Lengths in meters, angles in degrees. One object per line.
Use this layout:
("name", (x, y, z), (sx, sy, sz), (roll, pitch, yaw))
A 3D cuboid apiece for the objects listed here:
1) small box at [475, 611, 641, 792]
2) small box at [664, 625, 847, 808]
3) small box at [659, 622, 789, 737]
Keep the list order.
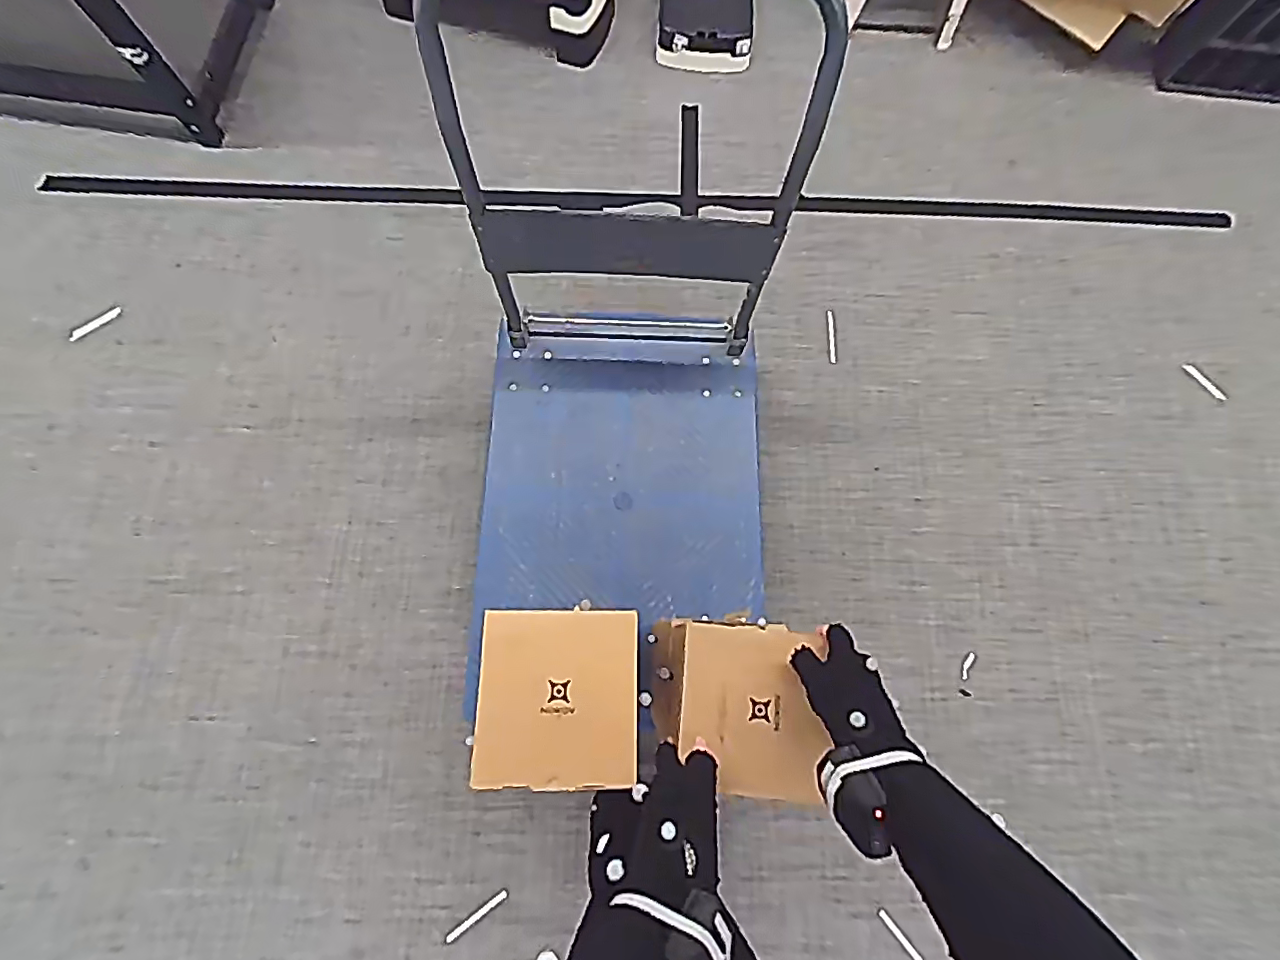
("small box", (-0.086, 0.249, 0.639), (0.168, 0.176, 0.179), (1, 75, -2))
("small box", (0.128, 0.266, 0.644), (0.179, 0.176, 0.168), (6, 73, 0))
("small box", (0.117, 0.306, 0.802), (0.168, 0.176, 0.179), (3, 75, -1))
